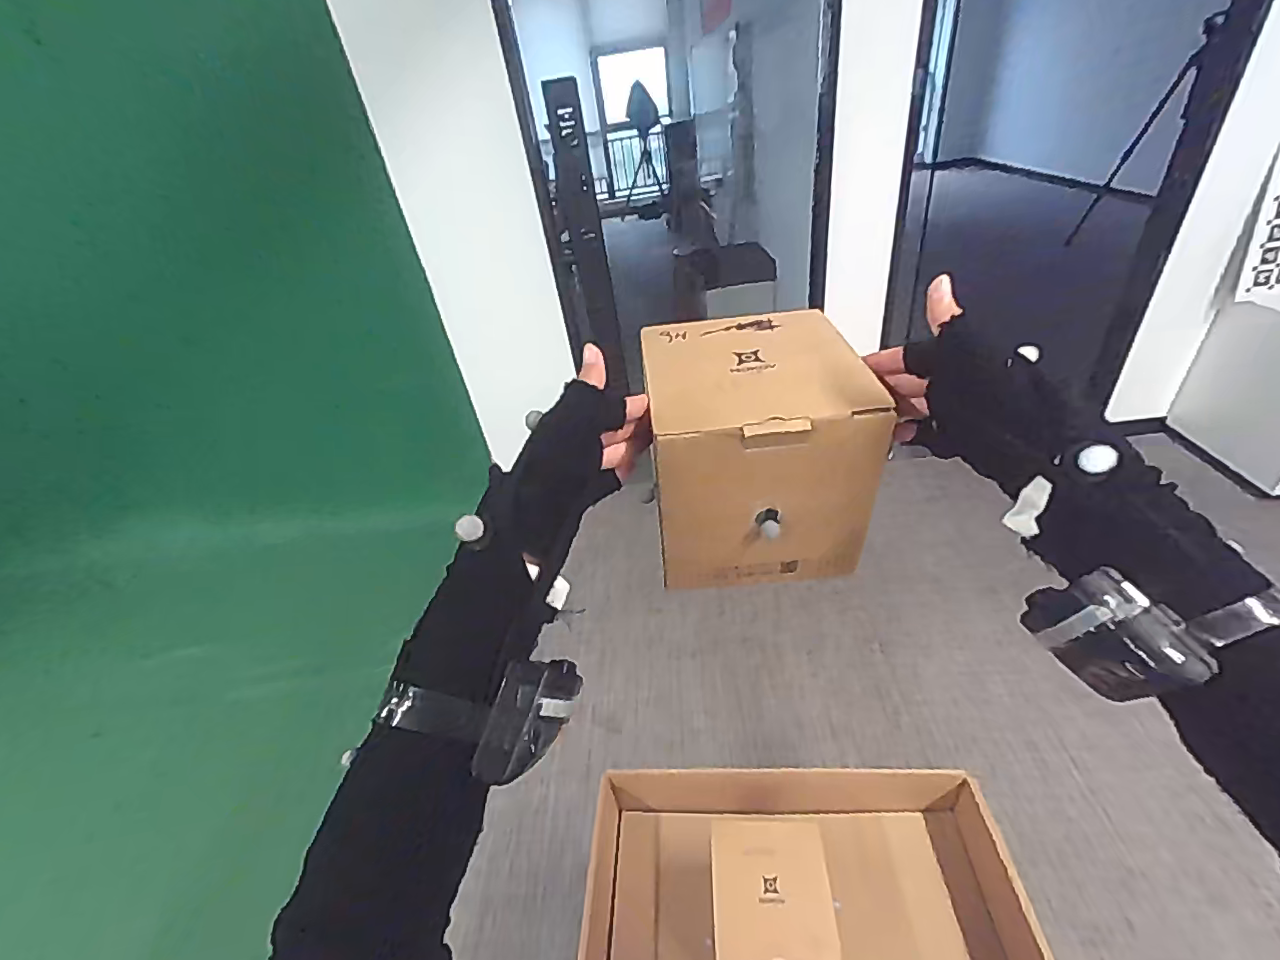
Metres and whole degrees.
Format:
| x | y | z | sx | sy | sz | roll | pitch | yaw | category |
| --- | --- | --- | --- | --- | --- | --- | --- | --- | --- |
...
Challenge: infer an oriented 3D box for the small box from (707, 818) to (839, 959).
| x | y | z | sx | sy | sz | roll | pitch | yaw | category |
| --- | --- | --- | --- | --- | --- | --- | --- | --- | --- |
| 0.189 | 0.640 | 0.811 | 0.168 | 0.176 | 0.179 | -2 | 34 | 5 | small box |

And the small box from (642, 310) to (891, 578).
| x | y | z | sx | sy | sz | roll | pitch | yaw | category |
| --- | --- | --- | --- | --- | --- | --- | --- | --- | --- |
| 0.093 | -0.028 | 0.475 | 0.168 | 0.176 | 0.179 | -5 | 40 | 1 | small box |
